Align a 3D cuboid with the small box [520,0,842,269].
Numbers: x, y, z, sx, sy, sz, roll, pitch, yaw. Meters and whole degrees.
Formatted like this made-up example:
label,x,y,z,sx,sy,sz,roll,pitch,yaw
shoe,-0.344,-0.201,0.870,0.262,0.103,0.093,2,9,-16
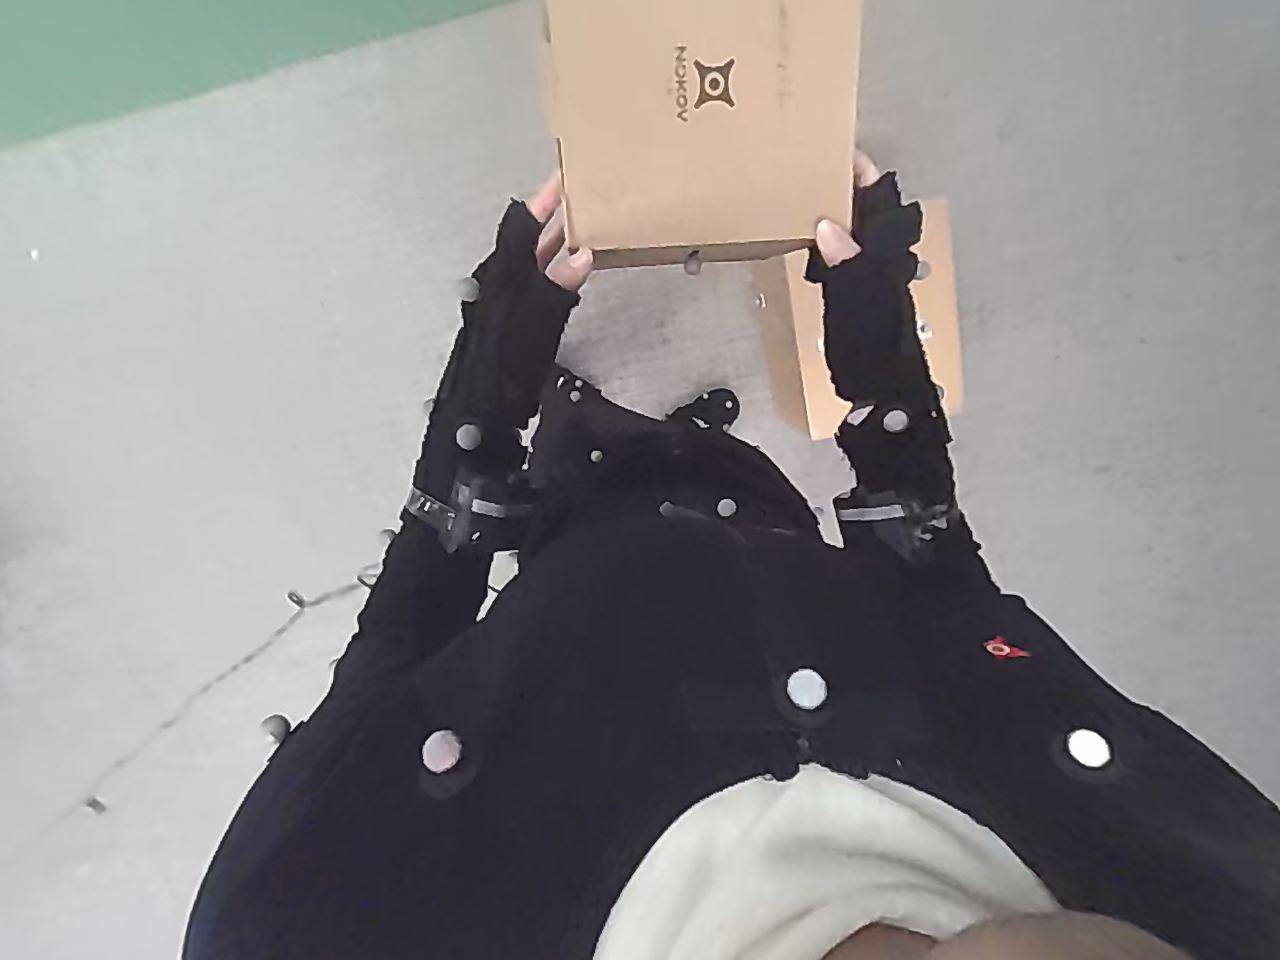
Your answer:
label,x,y,z,sx,sy,sz,roll,pitch,yaw
small box,0.023,-0.246,0.378,0.179,0.176,0.168,-8,109,-2
